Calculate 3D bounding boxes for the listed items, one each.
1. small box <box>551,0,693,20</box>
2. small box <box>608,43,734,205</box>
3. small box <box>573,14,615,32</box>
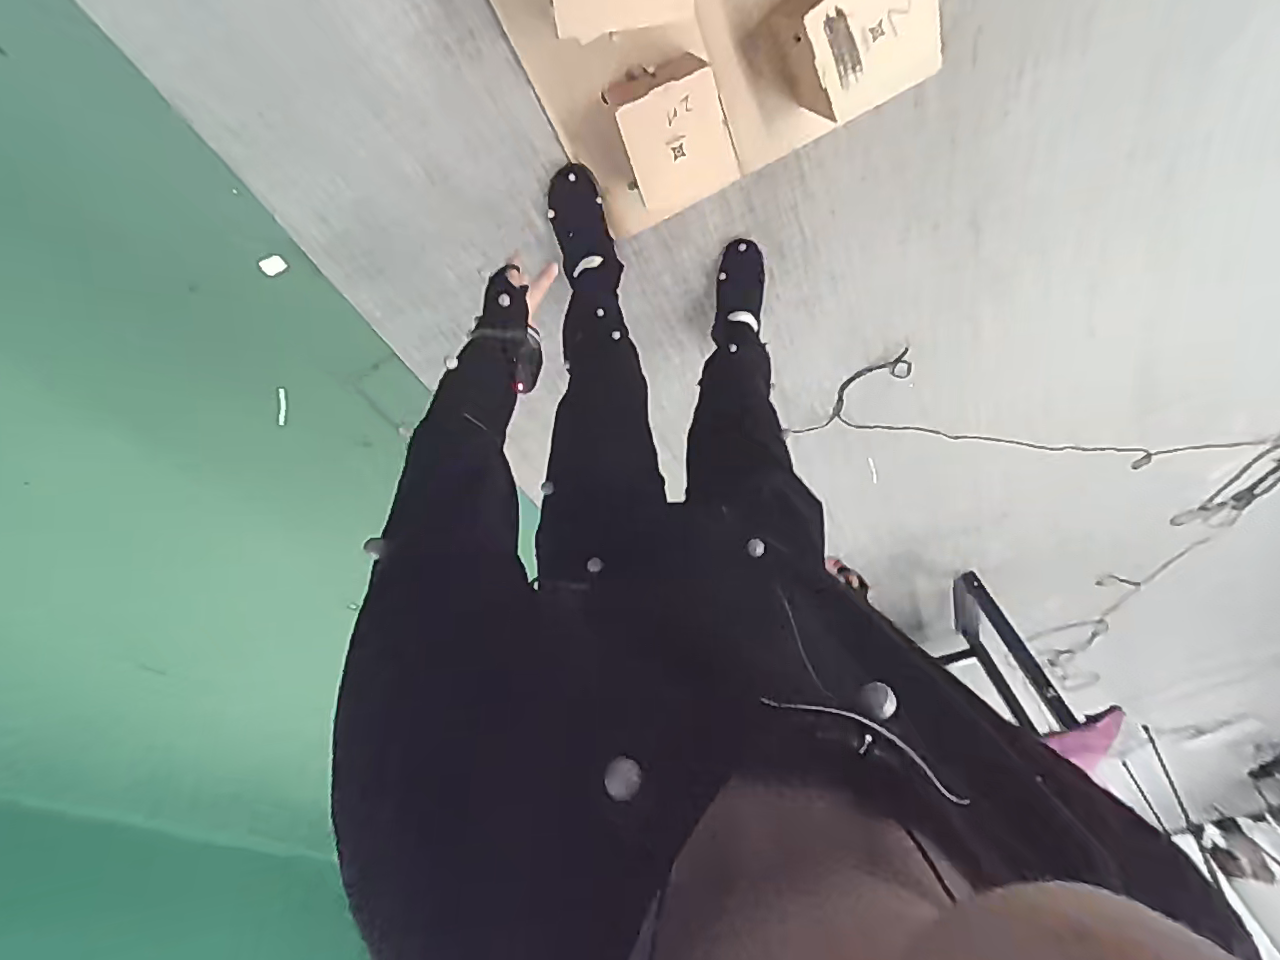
[{"bbox_3d":[-0.035,-0.679,0.659,0.179,0.176,0.168,-10,133,-2],"label":"small box"},{"bbox_3d":[0.053,-0.626,0.950,0.168,0.176,0.179,-19,133,8],"label":"small box"},{"bbox_3d":[-0.057,-0.793,0.775,0.168,0.176,0.179,-22,132,11],"label":"small box"}]
